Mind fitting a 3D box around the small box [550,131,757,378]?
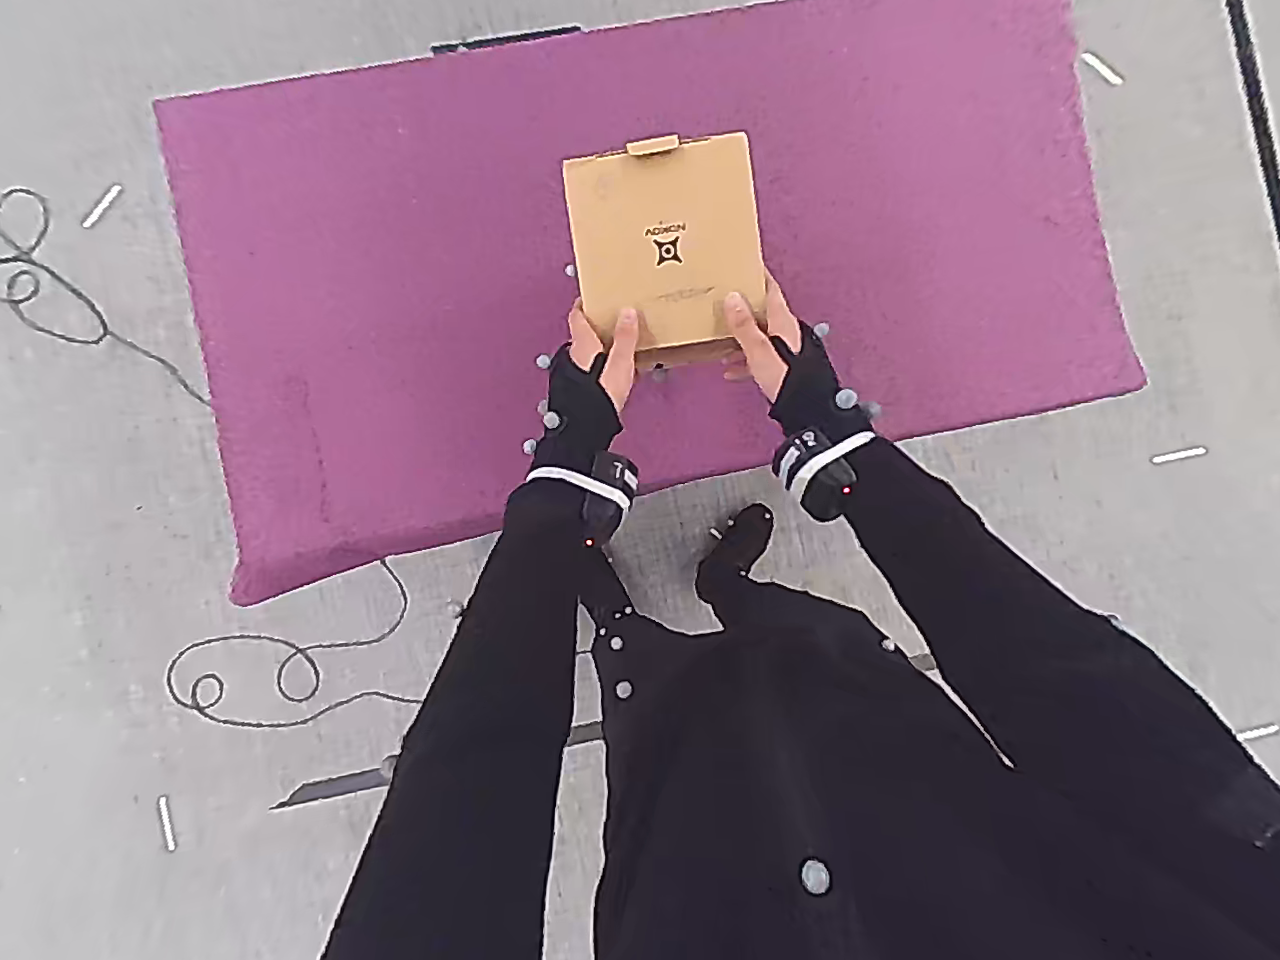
[{"bbox_3d":[0.012,-0.209,0.549,0.168,0.176,0.179,-8,95,1],"label":"small box"}]
